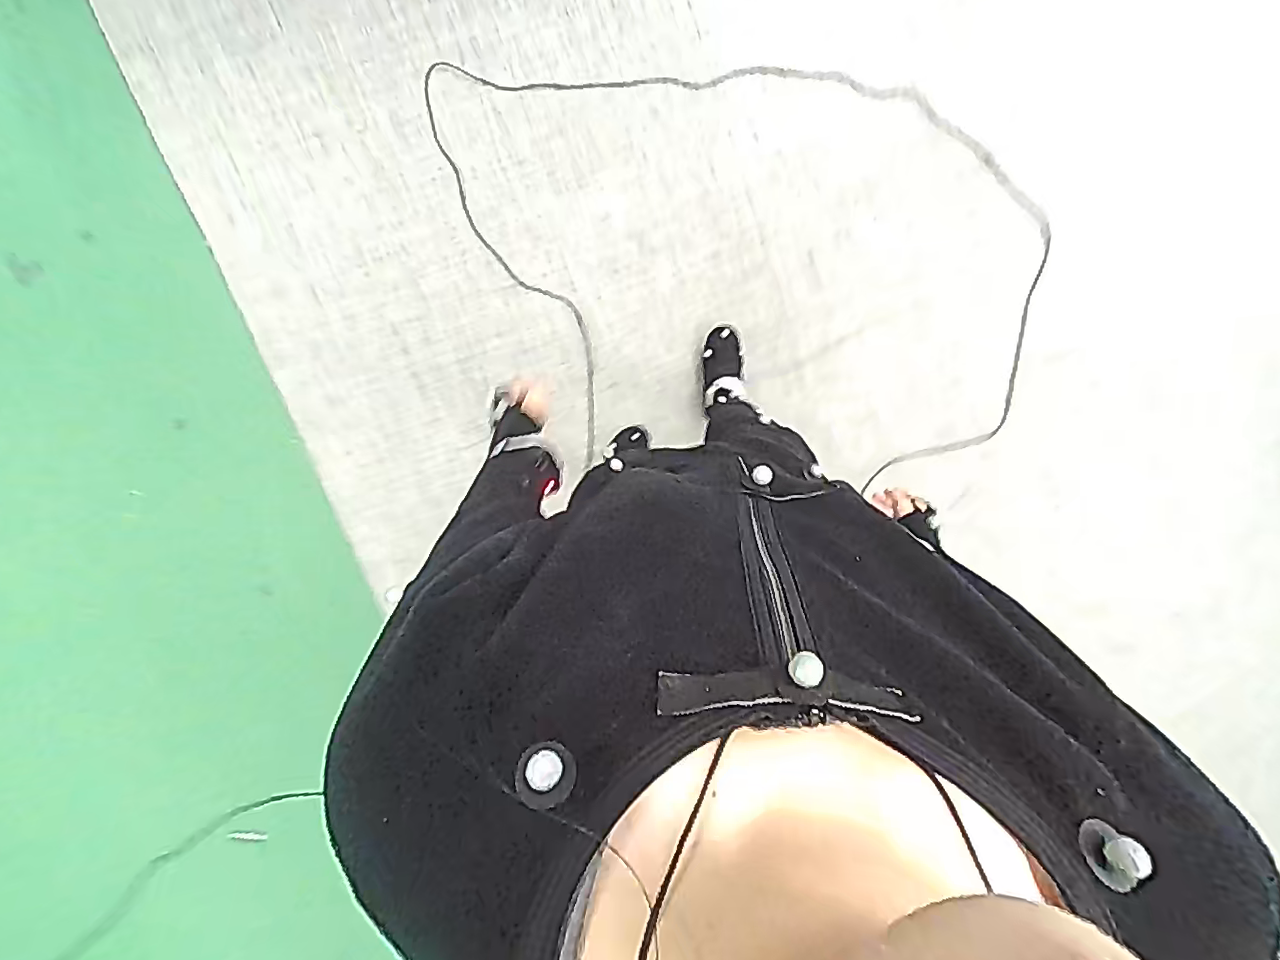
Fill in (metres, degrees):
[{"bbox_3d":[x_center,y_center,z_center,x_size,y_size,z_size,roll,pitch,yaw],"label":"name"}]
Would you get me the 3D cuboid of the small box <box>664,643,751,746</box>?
[{"bbox_3d":[0.178,0.576,1.474,0.179,0.176,0.168,-25,98,4],"label":"small box"}]
